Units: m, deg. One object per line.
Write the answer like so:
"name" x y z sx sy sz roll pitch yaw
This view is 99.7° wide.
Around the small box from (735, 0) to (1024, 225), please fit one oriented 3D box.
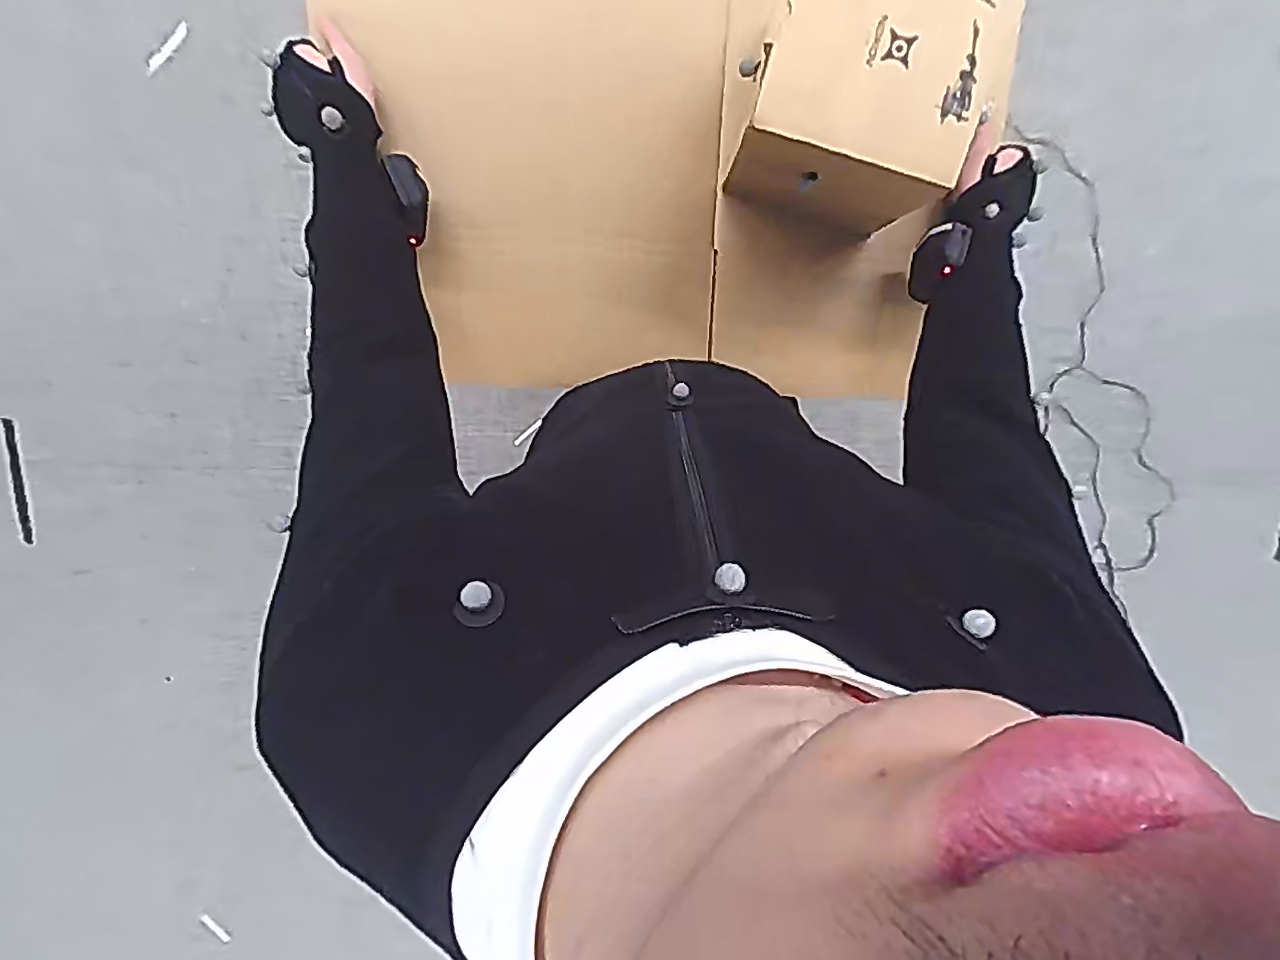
"small box" 0.198 -0.356 0.499 0.179 0.176 0.168 16 103 -2
